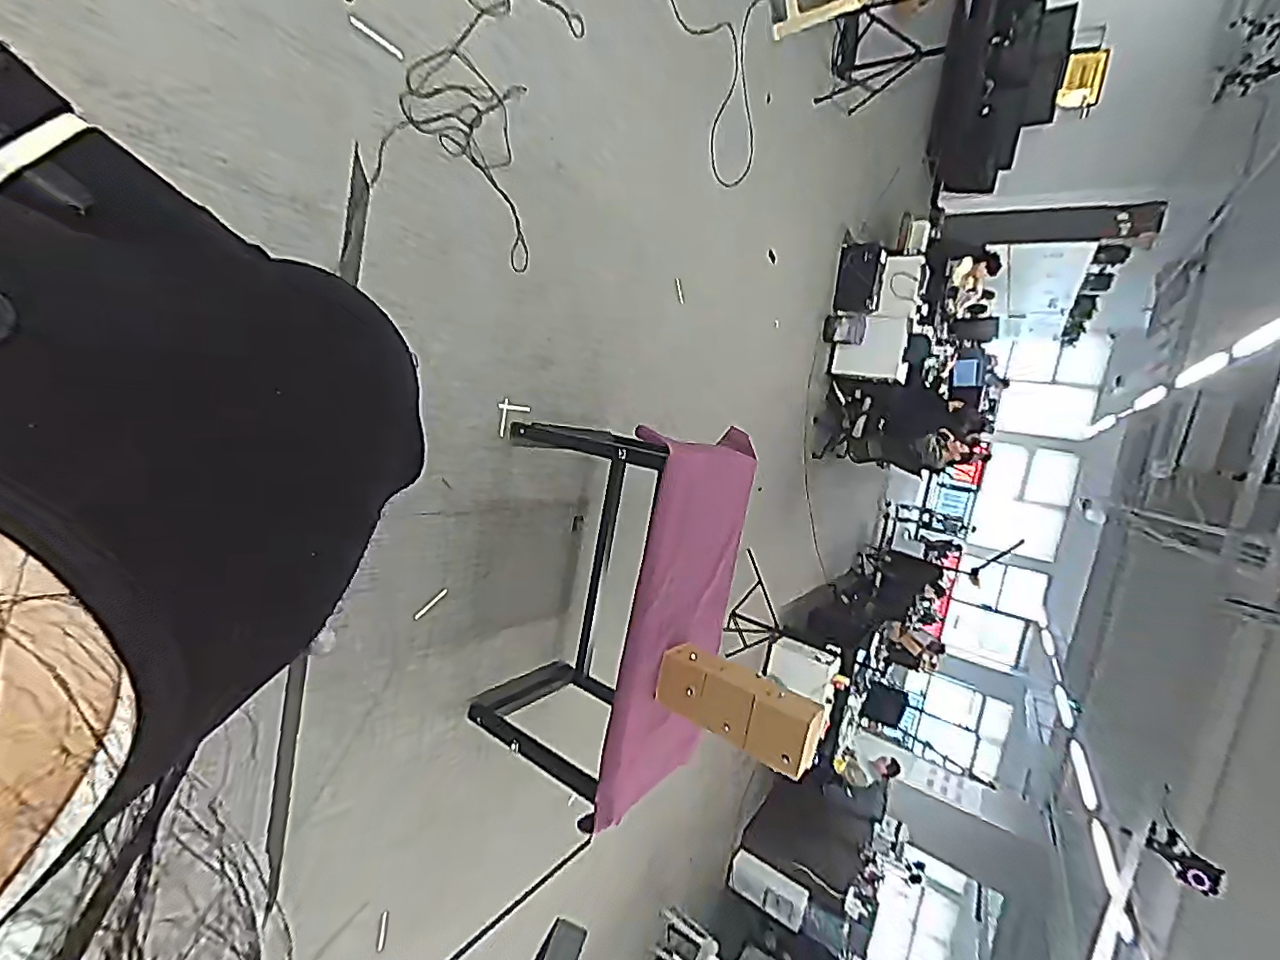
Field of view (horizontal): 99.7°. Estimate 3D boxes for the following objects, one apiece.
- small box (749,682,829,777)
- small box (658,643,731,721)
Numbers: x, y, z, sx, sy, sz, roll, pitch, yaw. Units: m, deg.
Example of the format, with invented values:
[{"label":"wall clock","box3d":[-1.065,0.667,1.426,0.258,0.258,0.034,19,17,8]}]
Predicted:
[{"label":"small box","box3d":[0.442,0.738,1.616,0.168,0.176,0.179,3,99,-56]},{"label":"small box","box3d":[0.179,0.660,1.799,0.168,0.176,0.179,4,99,-55]}]
